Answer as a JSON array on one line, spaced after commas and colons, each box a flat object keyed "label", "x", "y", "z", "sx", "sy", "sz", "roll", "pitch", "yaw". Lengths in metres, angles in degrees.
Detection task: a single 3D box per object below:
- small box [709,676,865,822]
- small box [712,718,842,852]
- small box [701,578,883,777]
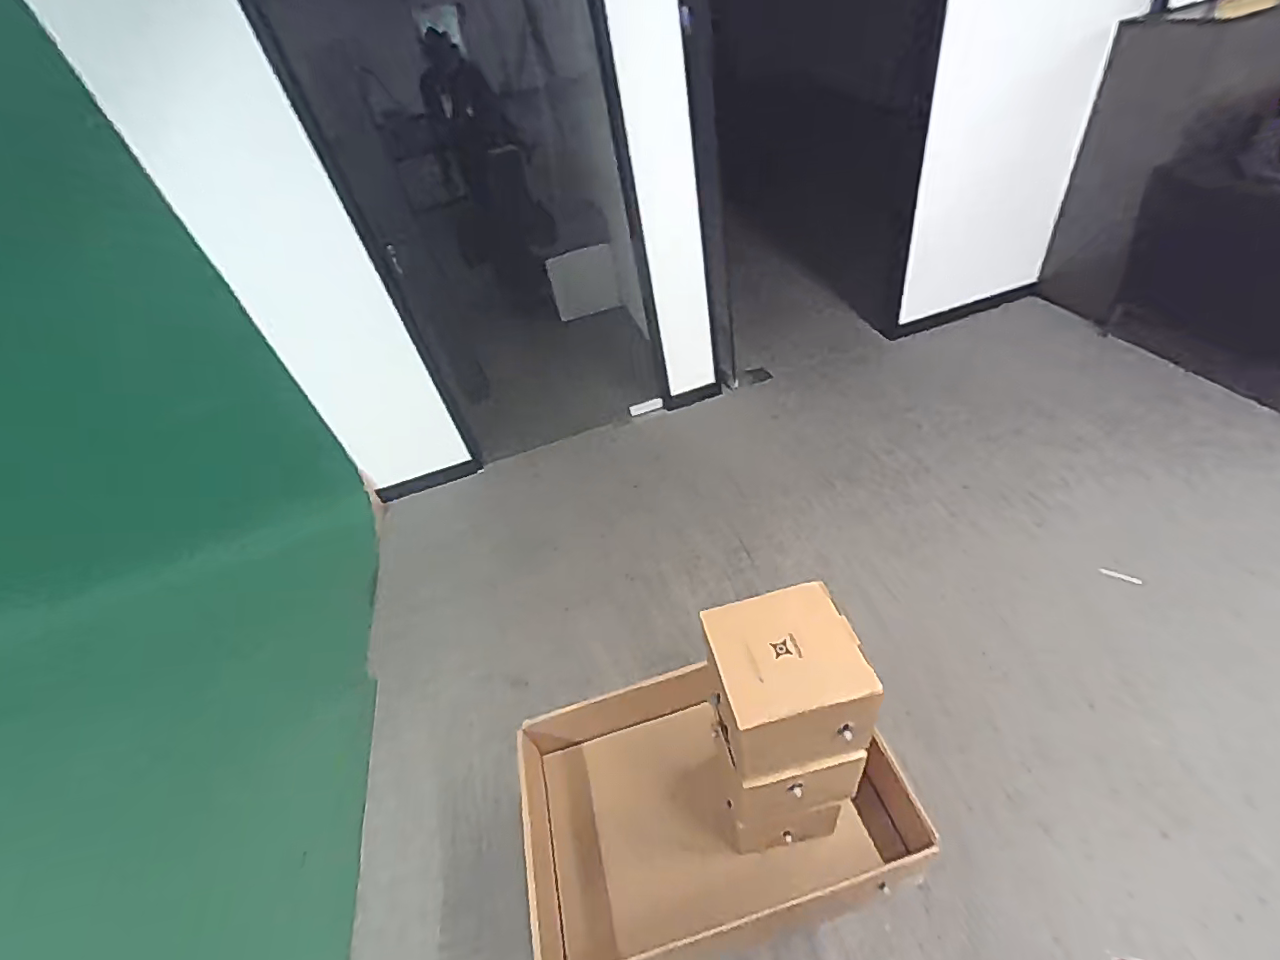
[{"label": "small box", "x": 0.215, "y": 0.389, "z": 0.818, "sx": 0.179, "sy": 0.176, "sz": 0.168, "roll": -14, "pitch": 42, "yaw": -1}, {"label": "small box", "x": 0.230, "y": 0.511, "z": 0.927, "sx": 0.168, "sy": 0.176, "sz": 0.179, "roll": -13, "pitch": 41, "yaw": 0}, {"label": "small box", "x": 0.190, "y": 0.262, "z": 0.717, "sx": 0.179, "sy": 0.176, "sz": 0.168, "roll": -15, "pitch": 41, "yaw": -1}]
